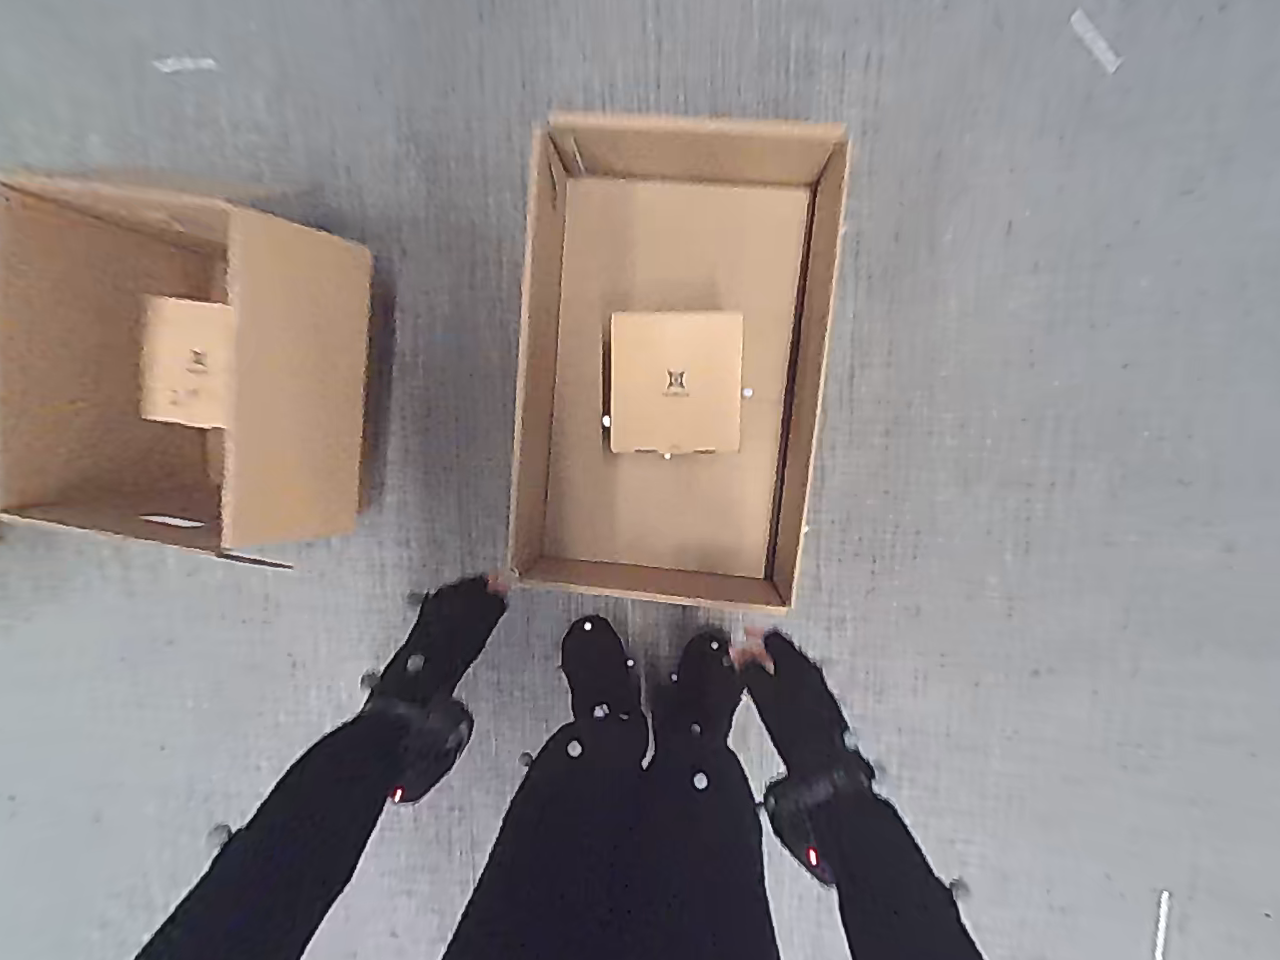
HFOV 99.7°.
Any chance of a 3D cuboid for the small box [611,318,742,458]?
[{"bbox_3d":[0.051,-0.122,0.765,0.168,0.176,0.179,1,95,5],"label":"small box"}]
